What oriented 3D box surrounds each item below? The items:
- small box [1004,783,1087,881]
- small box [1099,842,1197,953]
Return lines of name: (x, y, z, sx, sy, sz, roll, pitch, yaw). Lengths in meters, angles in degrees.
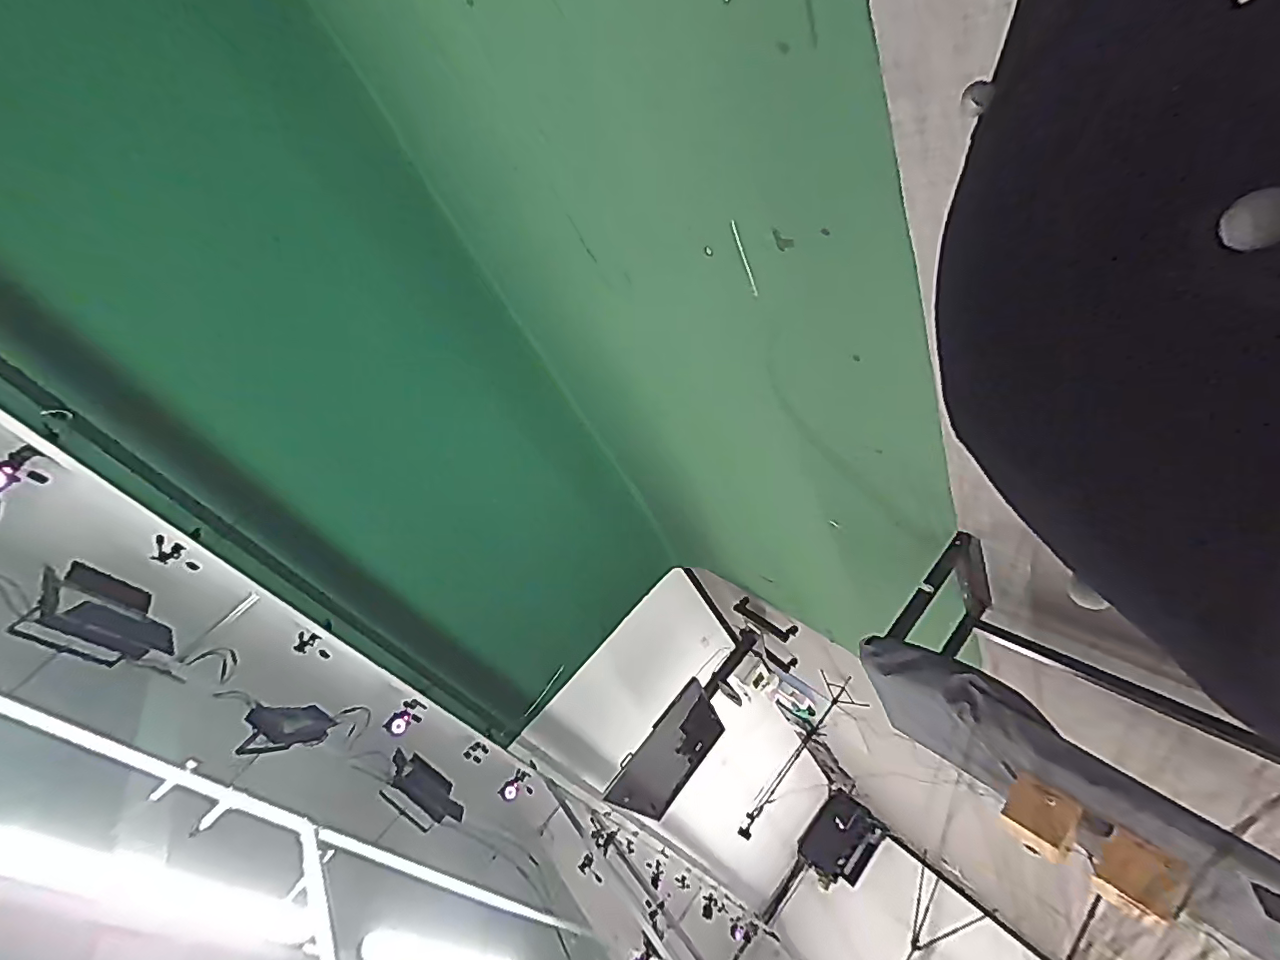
small box: (1.301, 1.120, 1.730, 0.168, 0.176, 0.179, 19, 148, 52)
small box: (1.440, 1.178, 1.536, 0.168, 0.176, 0.179, 22, 152, 52)
